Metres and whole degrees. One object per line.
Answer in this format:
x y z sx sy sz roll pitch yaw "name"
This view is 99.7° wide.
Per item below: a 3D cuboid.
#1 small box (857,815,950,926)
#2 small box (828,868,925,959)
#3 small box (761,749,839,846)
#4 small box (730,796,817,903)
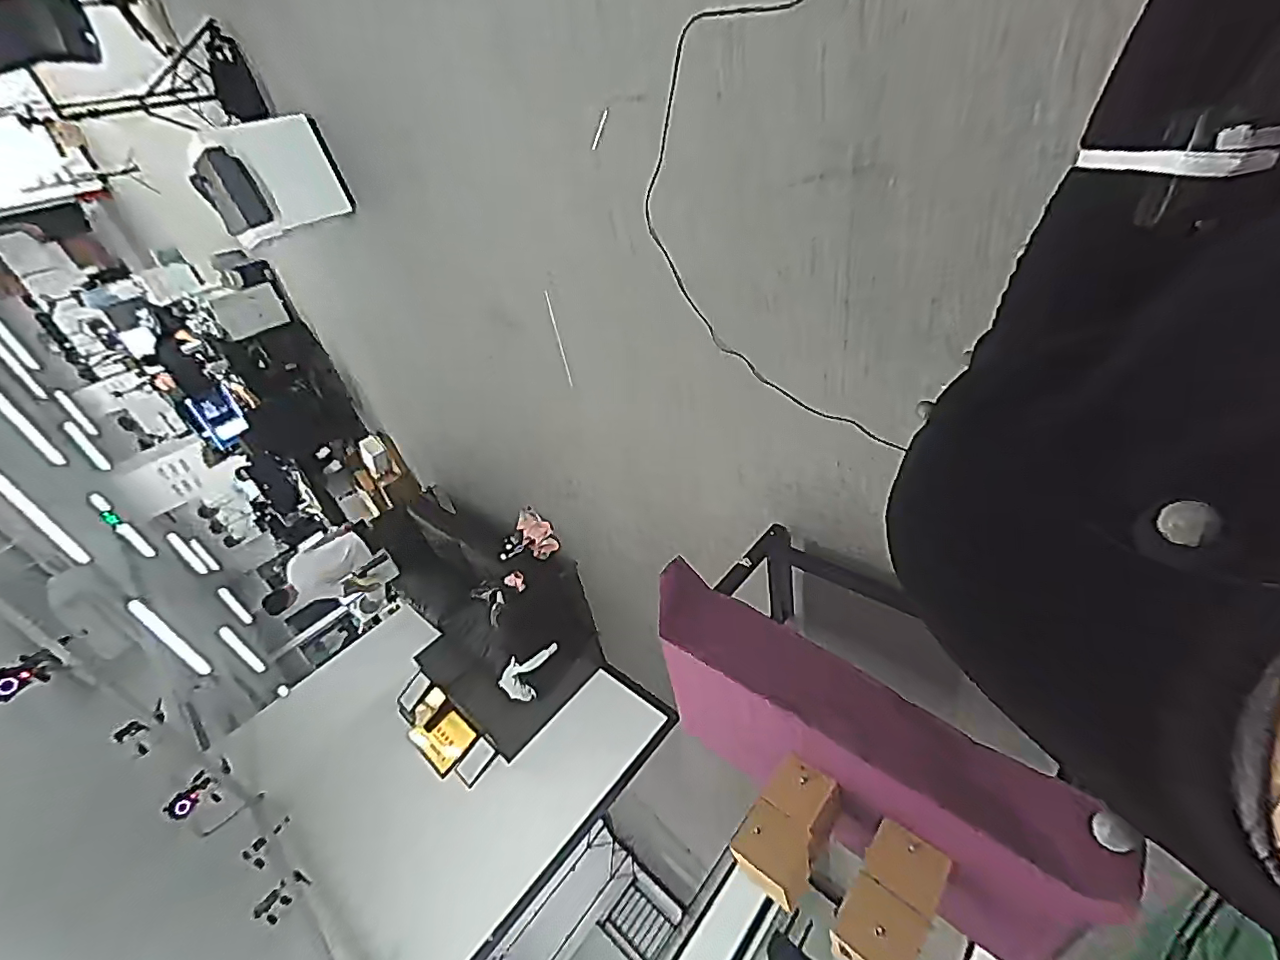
0.713 1.056 1.473 0.179 0.176 0.168 20 137 40 "small box"
0.603 1.143 1.387 0.179 0.176 0.168 19 136 40 "small box"
0.498 0.978 1.666 0.168 0.176 0.179 14 132 43 "small box"
0.391 1.063 1.576 0.179 0.176 0.168 16 135 42 "small box"
